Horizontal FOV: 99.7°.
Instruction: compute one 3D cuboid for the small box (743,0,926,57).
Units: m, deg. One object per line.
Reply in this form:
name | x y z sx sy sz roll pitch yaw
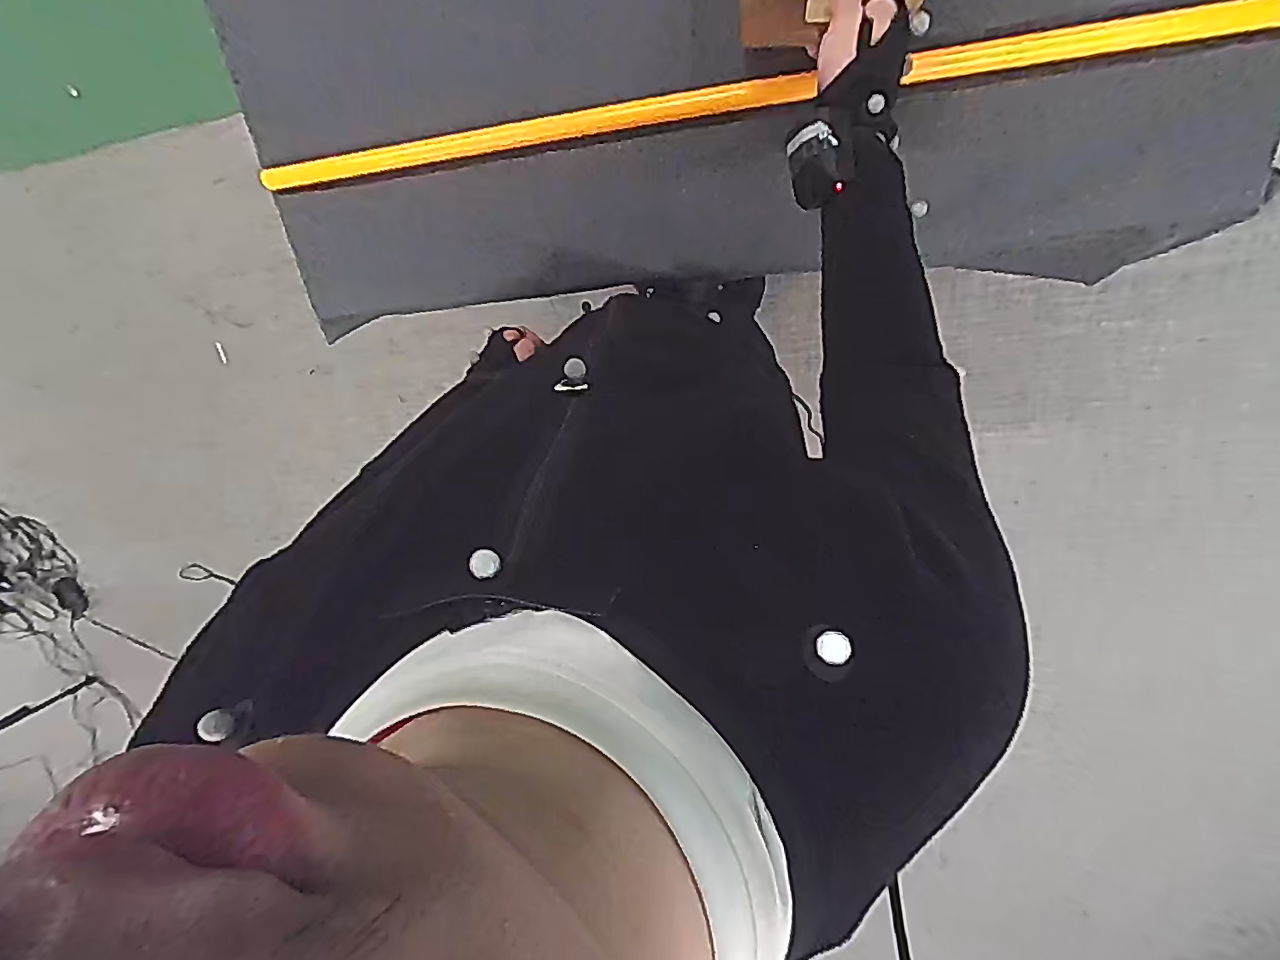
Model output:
small box | 0.186 -0.519 0.495 0.168 0.176 0.179 3 112 13
